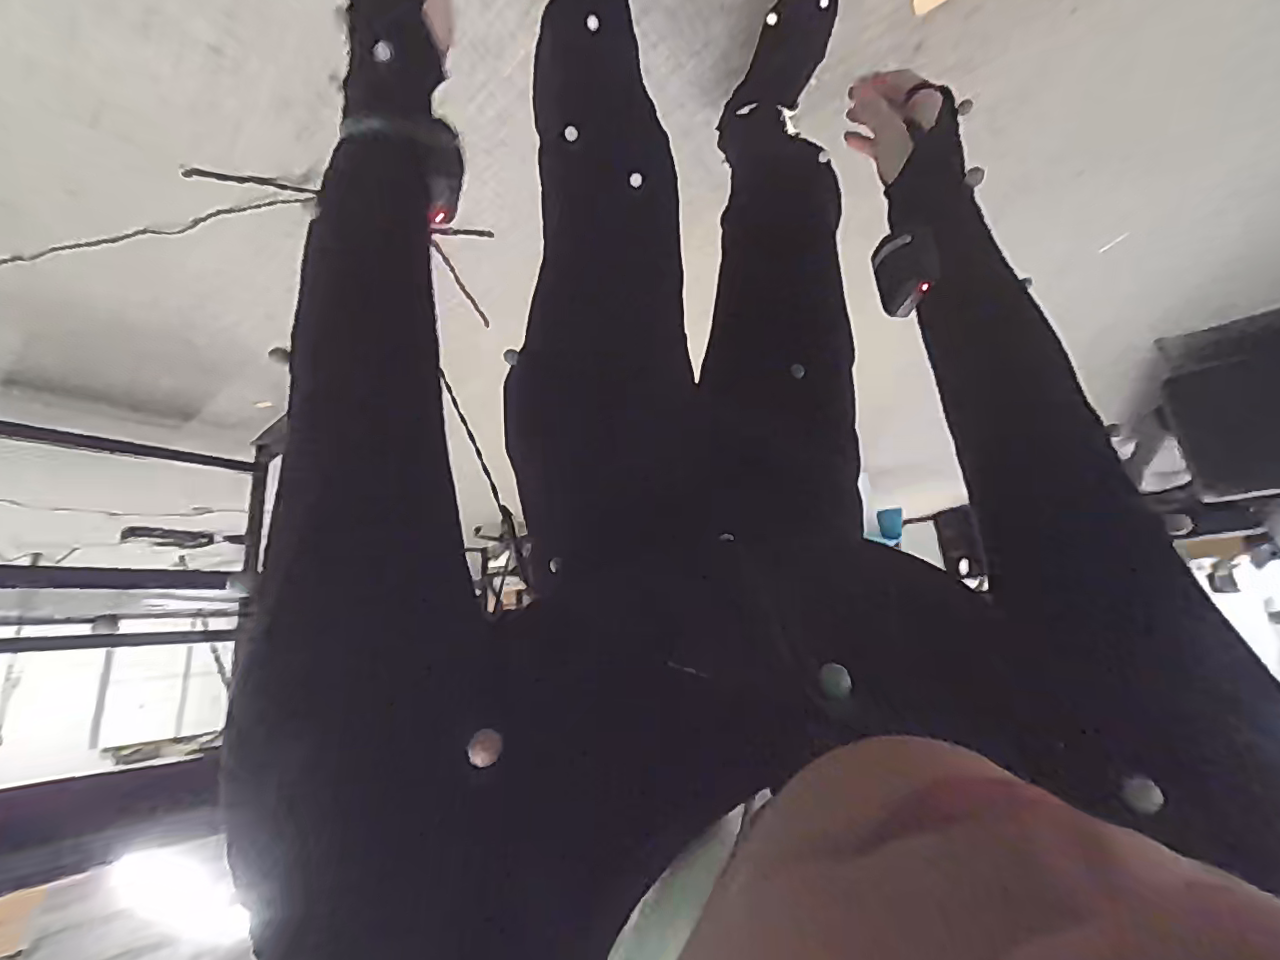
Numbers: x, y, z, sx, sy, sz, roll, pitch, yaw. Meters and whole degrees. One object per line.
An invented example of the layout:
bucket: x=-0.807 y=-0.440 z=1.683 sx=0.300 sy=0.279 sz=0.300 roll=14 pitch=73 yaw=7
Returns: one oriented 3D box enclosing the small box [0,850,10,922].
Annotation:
small box: x=-1.733 y=1.050 z=1.353 sx=0.168 sy=0.176 sz=0.179 roll=-13 pitch=163 yaw=33
